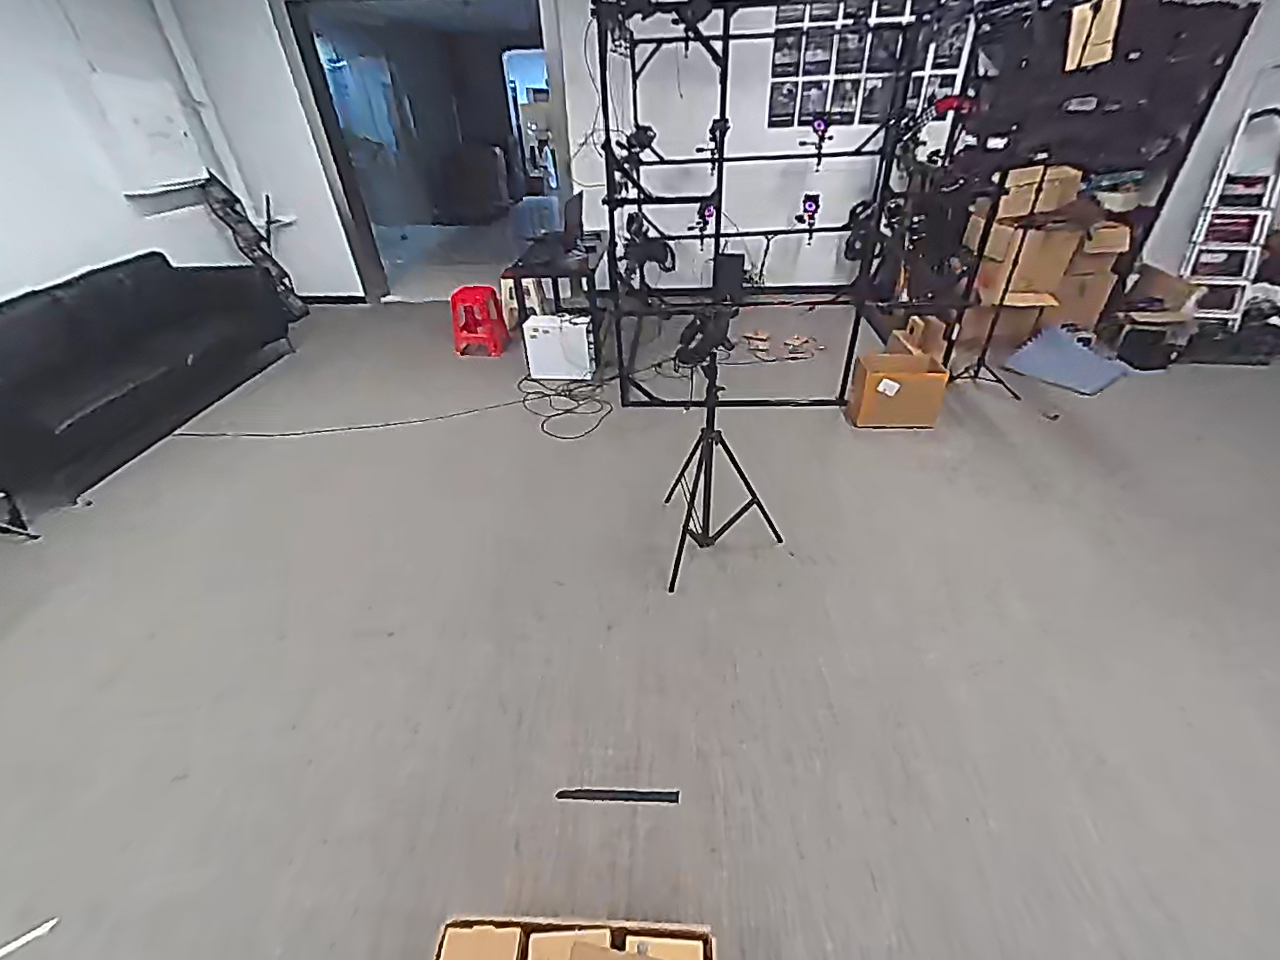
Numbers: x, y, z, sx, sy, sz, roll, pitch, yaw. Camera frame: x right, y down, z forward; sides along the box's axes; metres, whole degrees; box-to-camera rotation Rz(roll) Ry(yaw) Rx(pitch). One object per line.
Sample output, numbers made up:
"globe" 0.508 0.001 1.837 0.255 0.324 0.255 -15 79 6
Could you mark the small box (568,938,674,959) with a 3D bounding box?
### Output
"small box" -0.019 0.665 0.630 0.168 0.176 0.179 10 50 4
